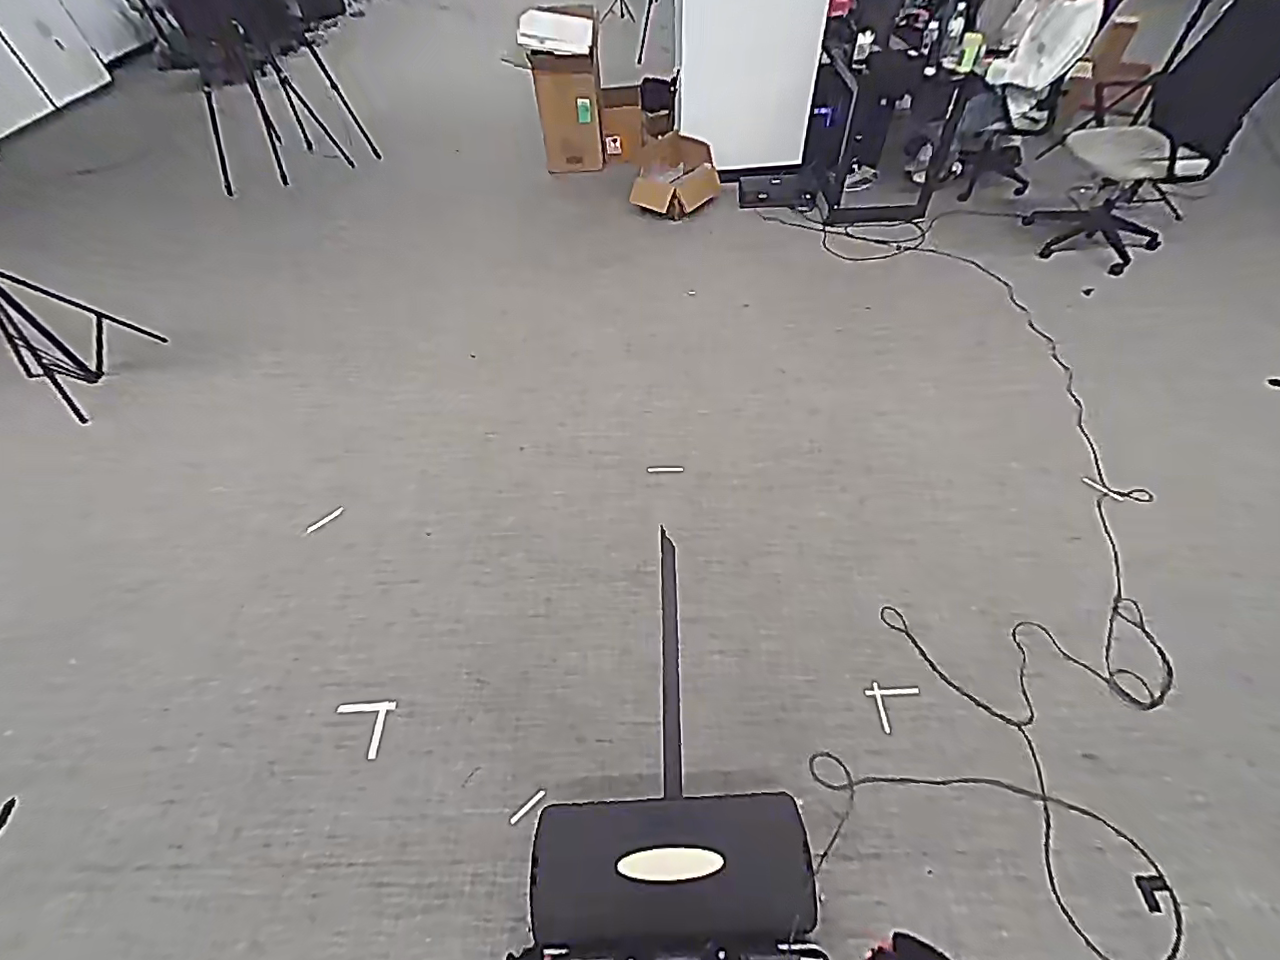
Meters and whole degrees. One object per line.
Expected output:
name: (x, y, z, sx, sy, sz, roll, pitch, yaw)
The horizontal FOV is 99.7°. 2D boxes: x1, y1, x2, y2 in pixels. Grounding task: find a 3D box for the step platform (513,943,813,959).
step platform: (0.045, 1.135, 1.090, 0.684, 0.204, 0.286, -4, 51, 2)
